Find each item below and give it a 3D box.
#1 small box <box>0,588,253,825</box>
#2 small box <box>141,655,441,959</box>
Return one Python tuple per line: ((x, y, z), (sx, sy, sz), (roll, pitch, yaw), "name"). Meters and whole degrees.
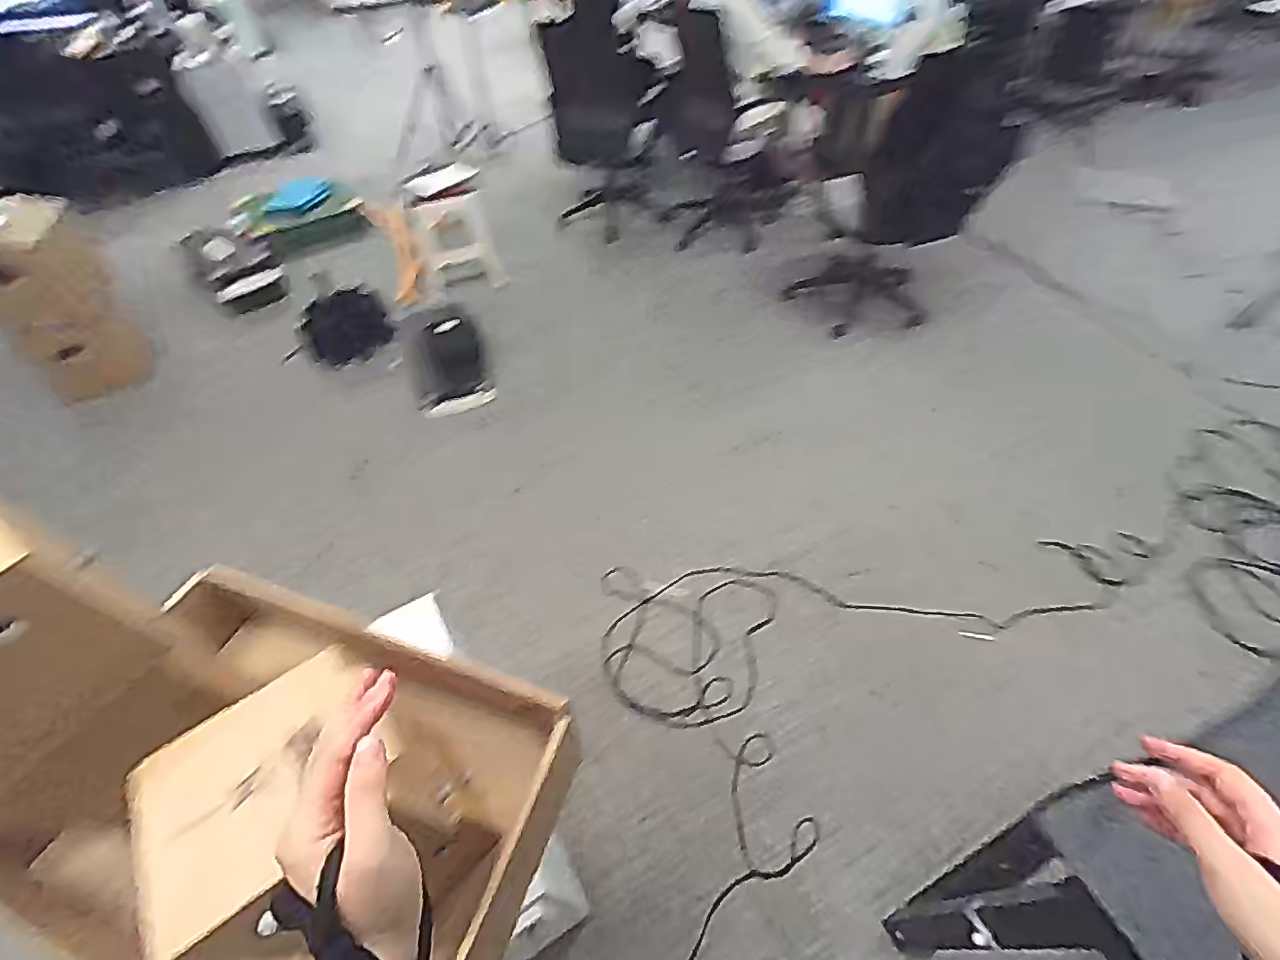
((-0.580, 0.243, 0.590), (0.179, 0.176, 0.168), (29, 59, 23), "small box")
((-0.314, 0.309, 0.517), (0.179, 0.176, 0.168), (-32, 54, -18), "small box")
